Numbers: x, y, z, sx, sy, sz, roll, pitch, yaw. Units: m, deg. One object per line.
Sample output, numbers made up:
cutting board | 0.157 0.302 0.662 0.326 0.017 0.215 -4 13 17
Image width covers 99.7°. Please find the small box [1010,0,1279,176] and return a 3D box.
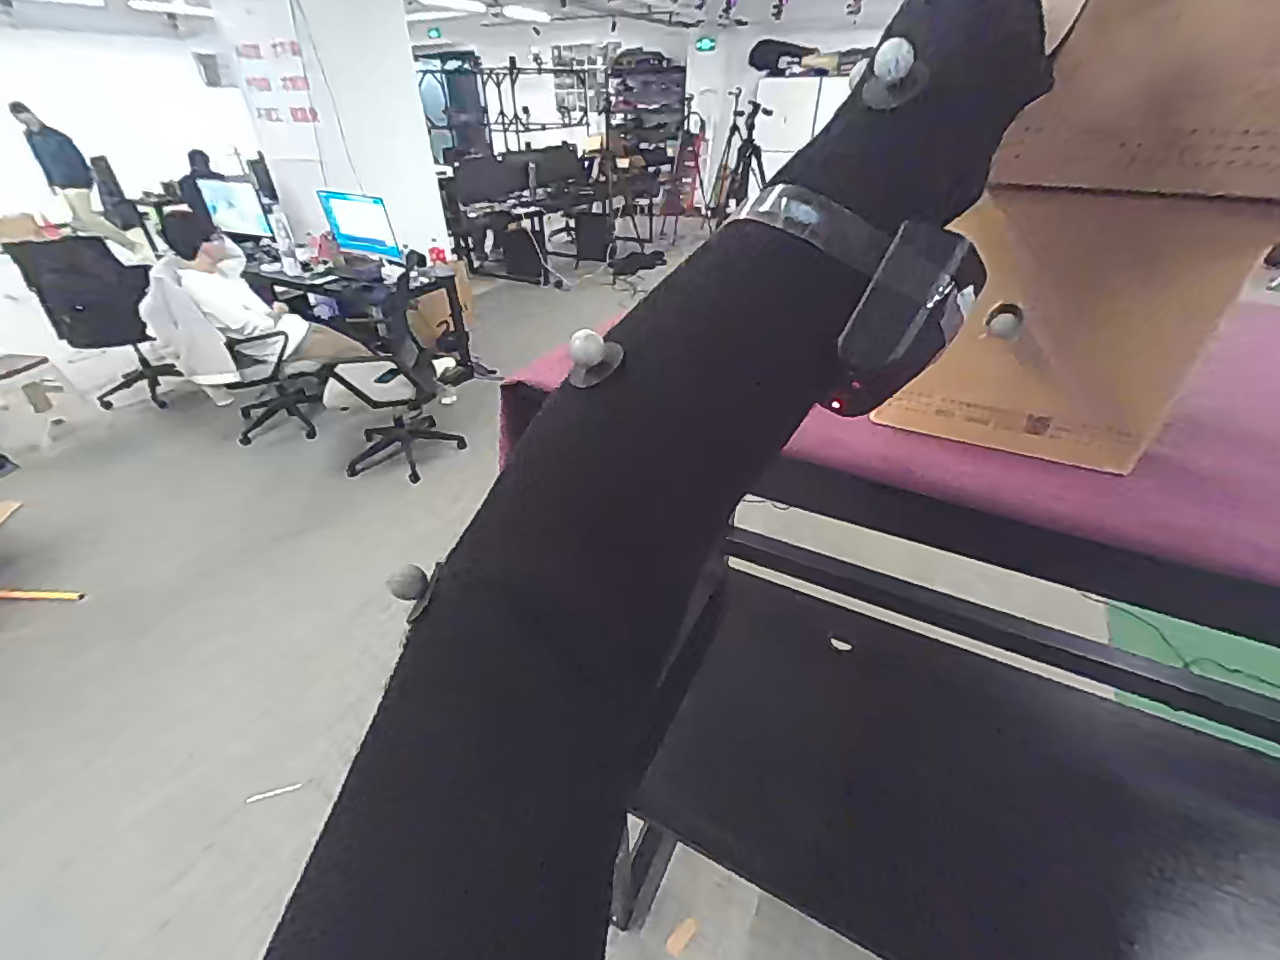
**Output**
small box | 0.305 -0.246 0.262 0.179 0.176 0.168 19 38 23
